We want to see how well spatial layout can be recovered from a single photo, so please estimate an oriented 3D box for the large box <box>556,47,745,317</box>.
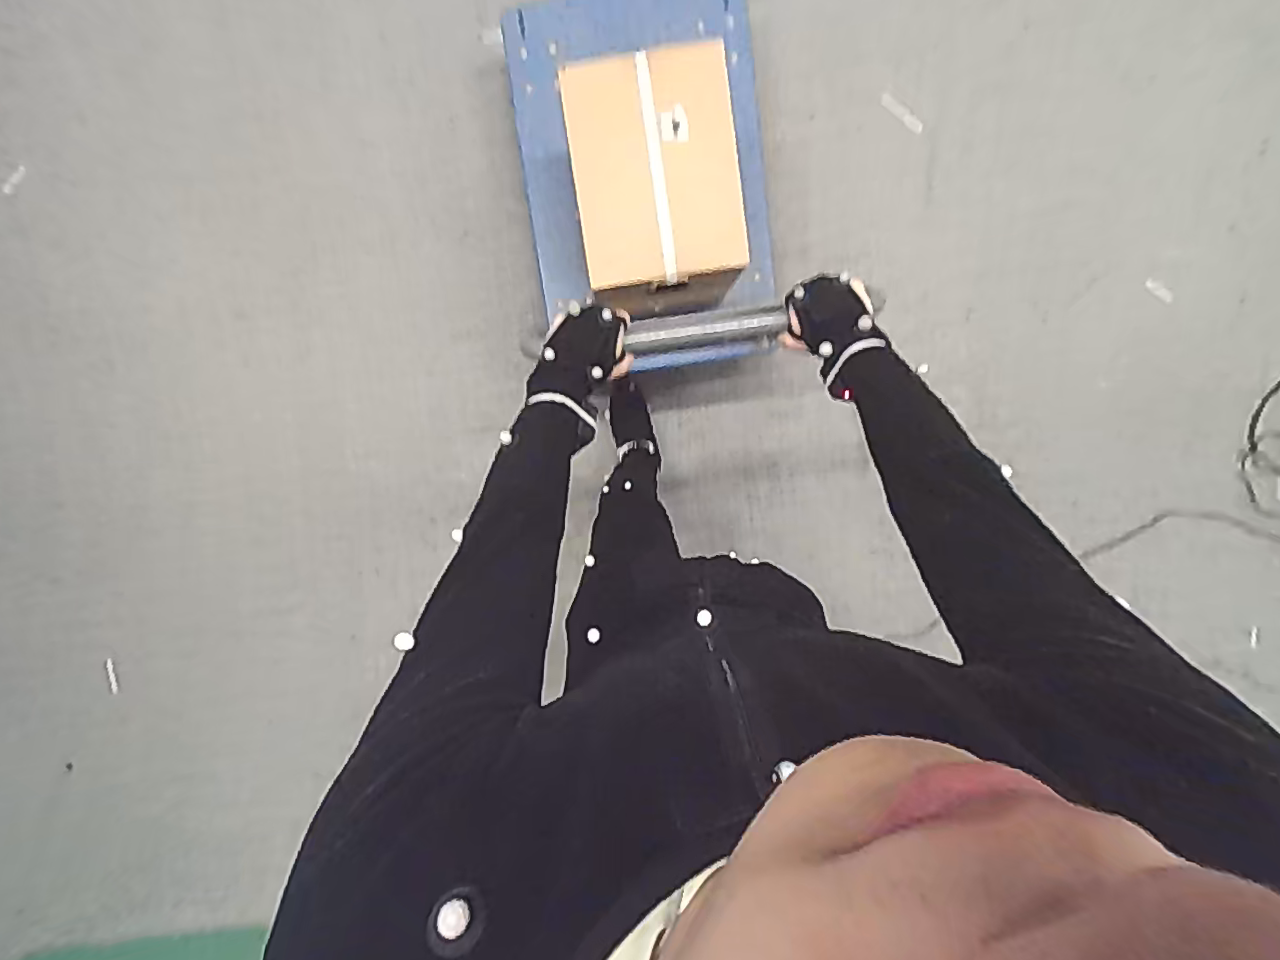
[{"bbox_3d":[0.025,-0.607,1.180,0.320,0.320,0.408,-9,96,1],"label":"large box"}]
